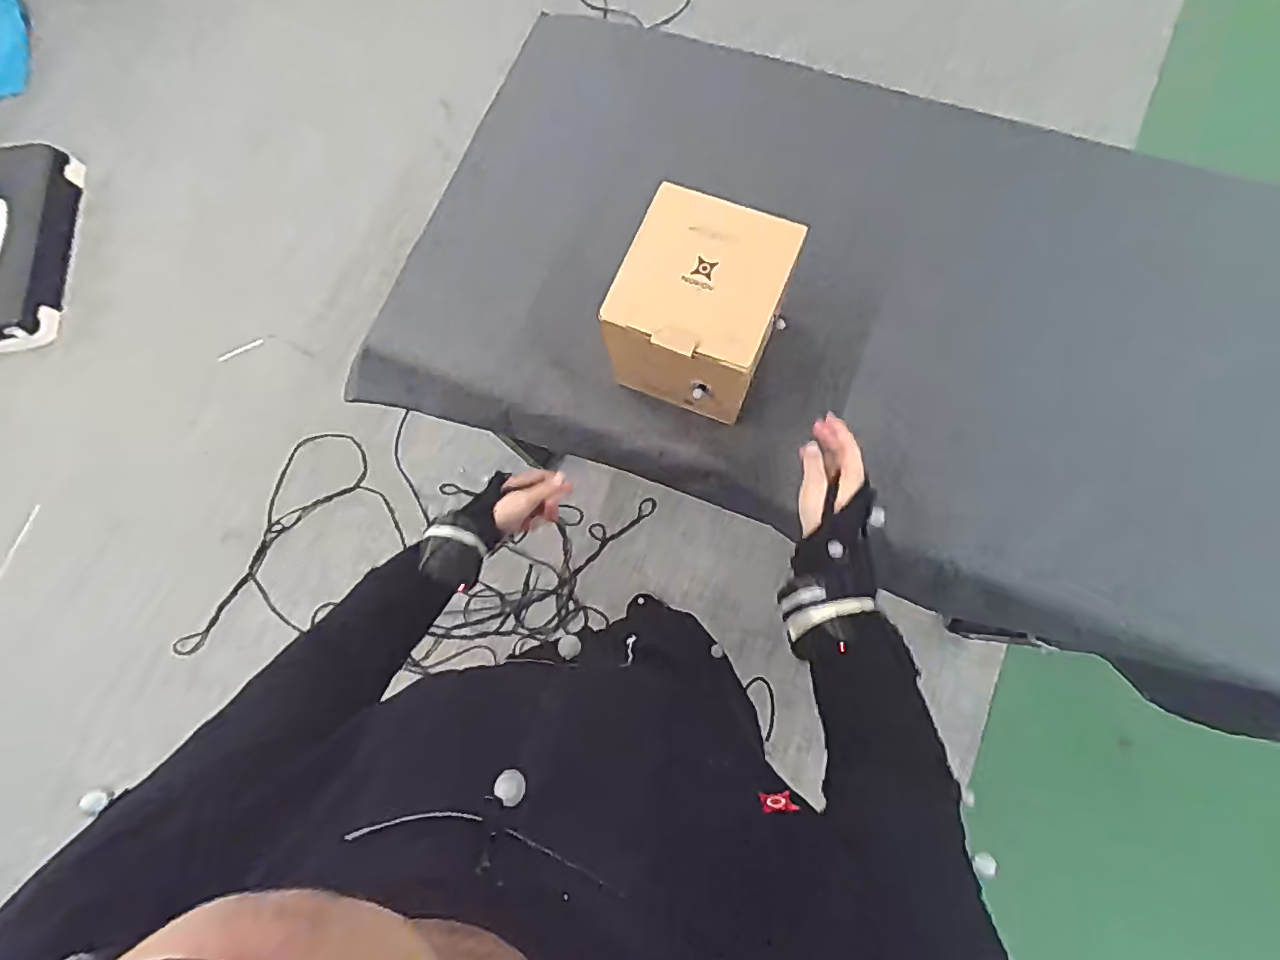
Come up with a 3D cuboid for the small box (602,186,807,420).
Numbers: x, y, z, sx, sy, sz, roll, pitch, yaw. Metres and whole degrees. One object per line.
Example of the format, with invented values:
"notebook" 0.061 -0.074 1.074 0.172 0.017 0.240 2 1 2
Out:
"small box" 0.072 -0.192 0.632 0.168 0.176 0.179 22 78 7
